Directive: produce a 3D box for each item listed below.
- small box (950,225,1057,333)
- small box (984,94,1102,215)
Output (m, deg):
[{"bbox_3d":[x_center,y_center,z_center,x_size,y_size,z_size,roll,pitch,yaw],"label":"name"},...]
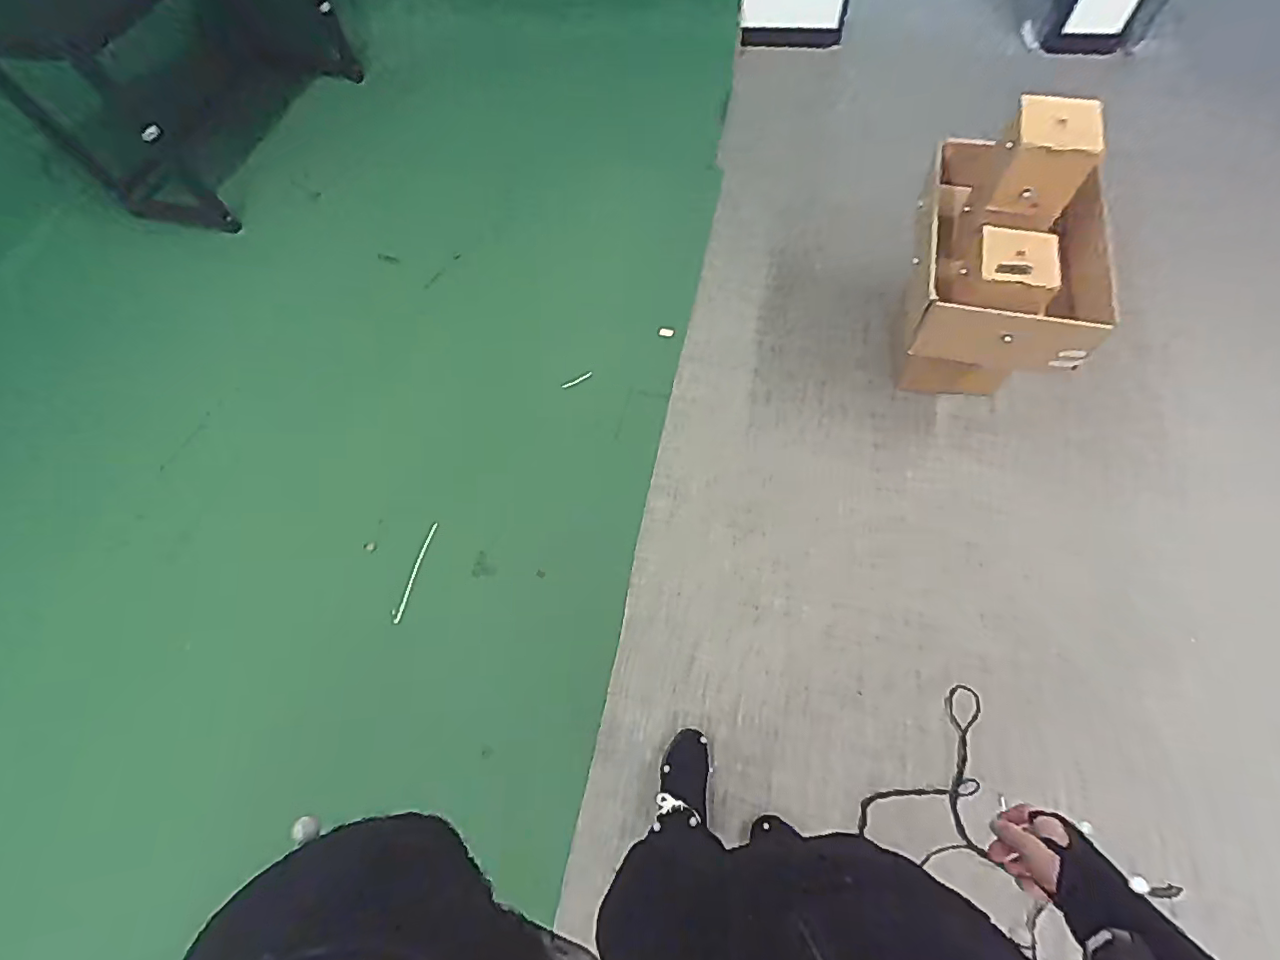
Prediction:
[{"bbox_3d":[0.884,-0.488,1.326,0.168,0.176,0.179,13,65,10],"label":"small box"},{"bbox_3d":[0.938,-0.763,1.273,0.168,0.176,0.179,12,69,10],"label":"small box"}]
